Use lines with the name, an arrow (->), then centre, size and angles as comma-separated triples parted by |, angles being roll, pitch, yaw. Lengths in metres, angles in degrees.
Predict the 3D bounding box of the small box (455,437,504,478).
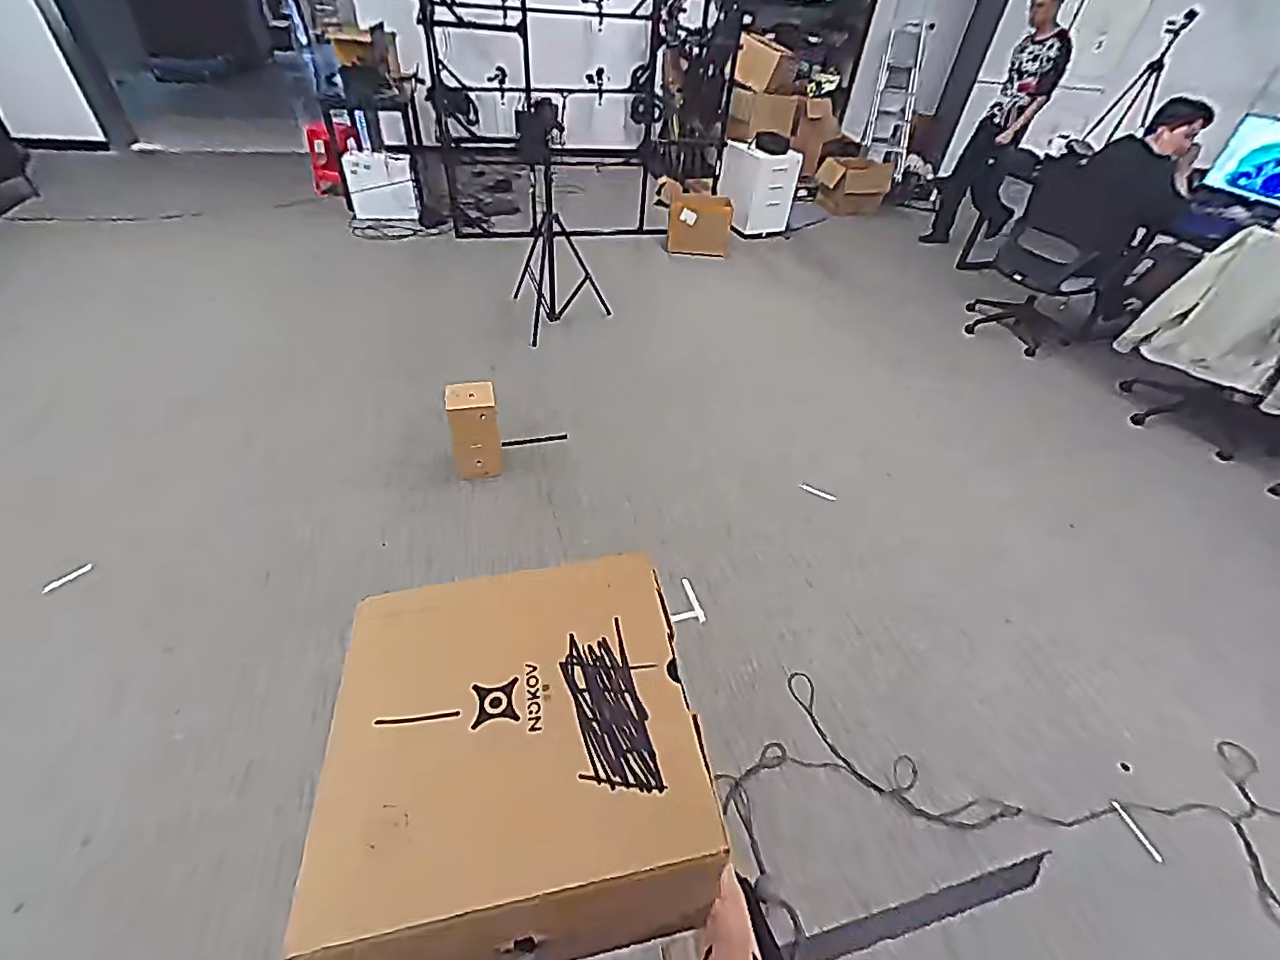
small box -> -0.645, -0.119, 2.174 | 0.168, 0.176, 0.179 | -7, 45, -13

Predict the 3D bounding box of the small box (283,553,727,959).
small box -> -0.062, 0.170, 0.323 | 0.179, 0.176, 0.168 | -9, 42, -7

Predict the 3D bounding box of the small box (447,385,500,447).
small box -> -0.632, -0.244, 2.064 | 0.179, 0.176, 0.168 | -8, 43, -13
